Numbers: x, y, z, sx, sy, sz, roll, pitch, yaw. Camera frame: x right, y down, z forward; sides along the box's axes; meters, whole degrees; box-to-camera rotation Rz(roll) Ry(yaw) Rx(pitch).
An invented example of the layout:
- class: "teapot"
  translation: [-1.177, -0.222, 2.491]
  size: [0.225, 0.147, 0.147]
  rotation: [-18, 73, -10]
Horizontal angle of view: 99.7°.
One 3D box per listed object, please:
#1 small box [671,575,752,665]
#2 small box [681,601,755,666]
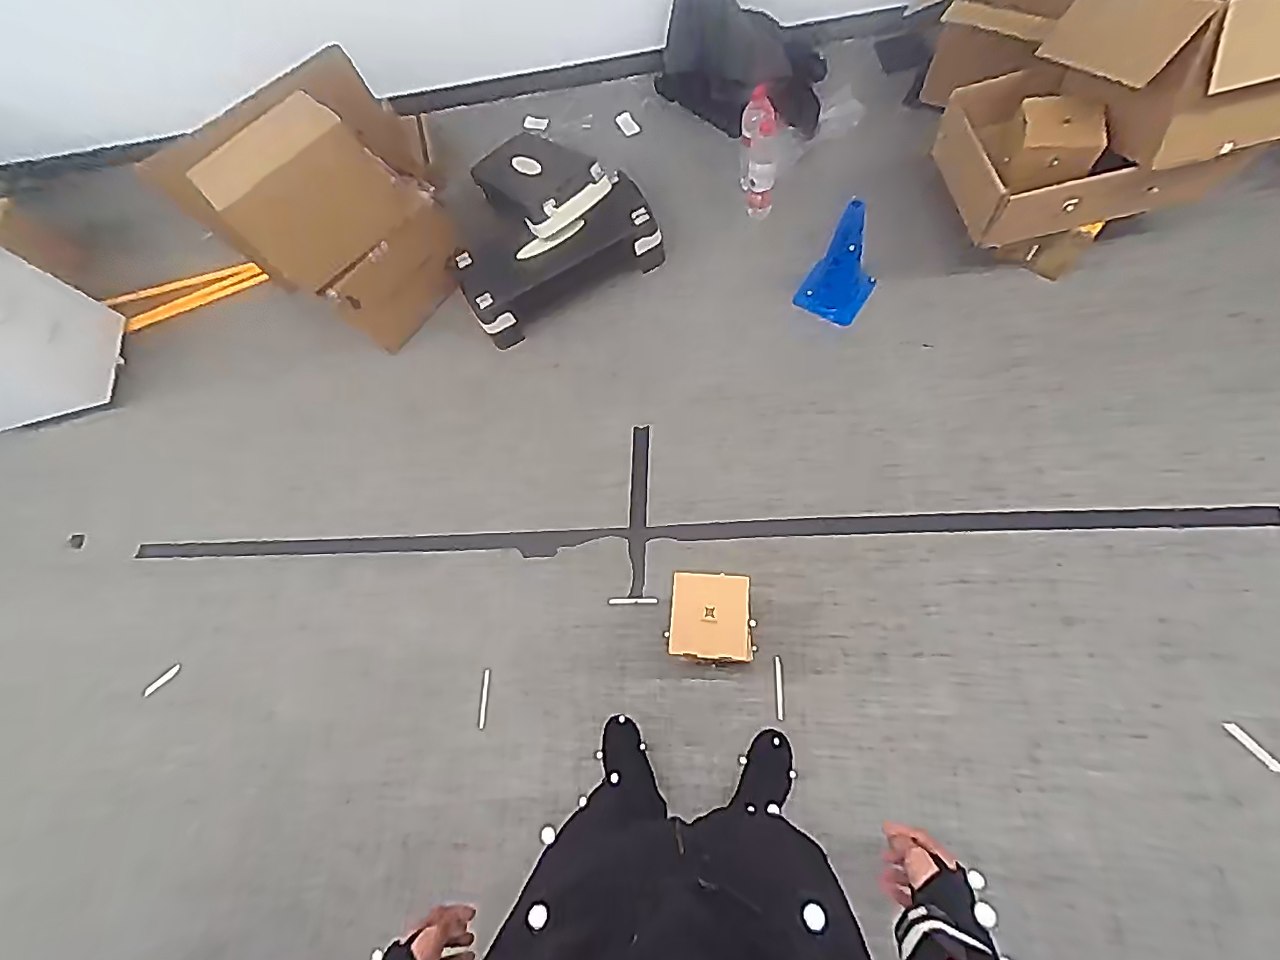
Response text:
- class: "small box"
  translation: [0.166, 0.321, 1.232]
  size: [0.168, 0.176, 0.179]
  rotation: [2, 73, 11]
- class: "small box"
  translation: [0.198, 0.385, 1.379]
  size: [0.179, 0.176, 0.168]
  rotation: [-3, 71, 10]
